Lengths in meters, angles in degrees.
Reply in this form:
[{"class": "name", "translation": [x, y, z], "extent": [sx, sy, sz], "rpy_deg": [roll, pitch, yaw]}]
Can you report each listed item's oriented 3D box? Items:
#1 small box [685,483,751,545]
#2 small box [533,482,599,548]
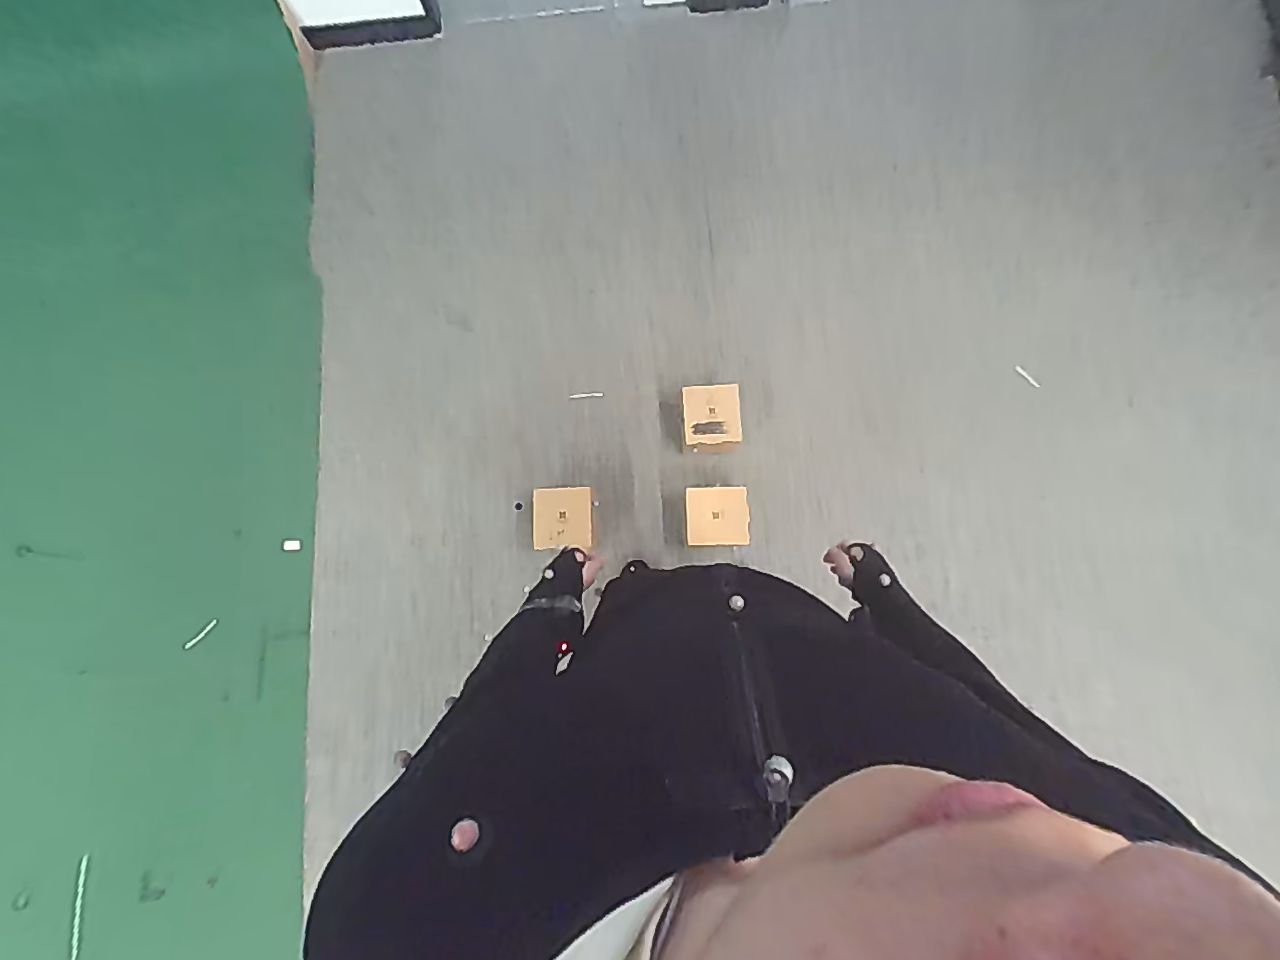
[{"class": "small box", "translation": [0.221, 0.103, 1.578], "extent": [0.179, 0.176, 0.168], "rpy_deg": [-1, 81, 1]}, {"class": "small box", "translation": [-0.214, 0.108, 1.589], "extent": [0.168, 0.176, 0.179], "rpy_deg": [-2, 81, 2]}]
